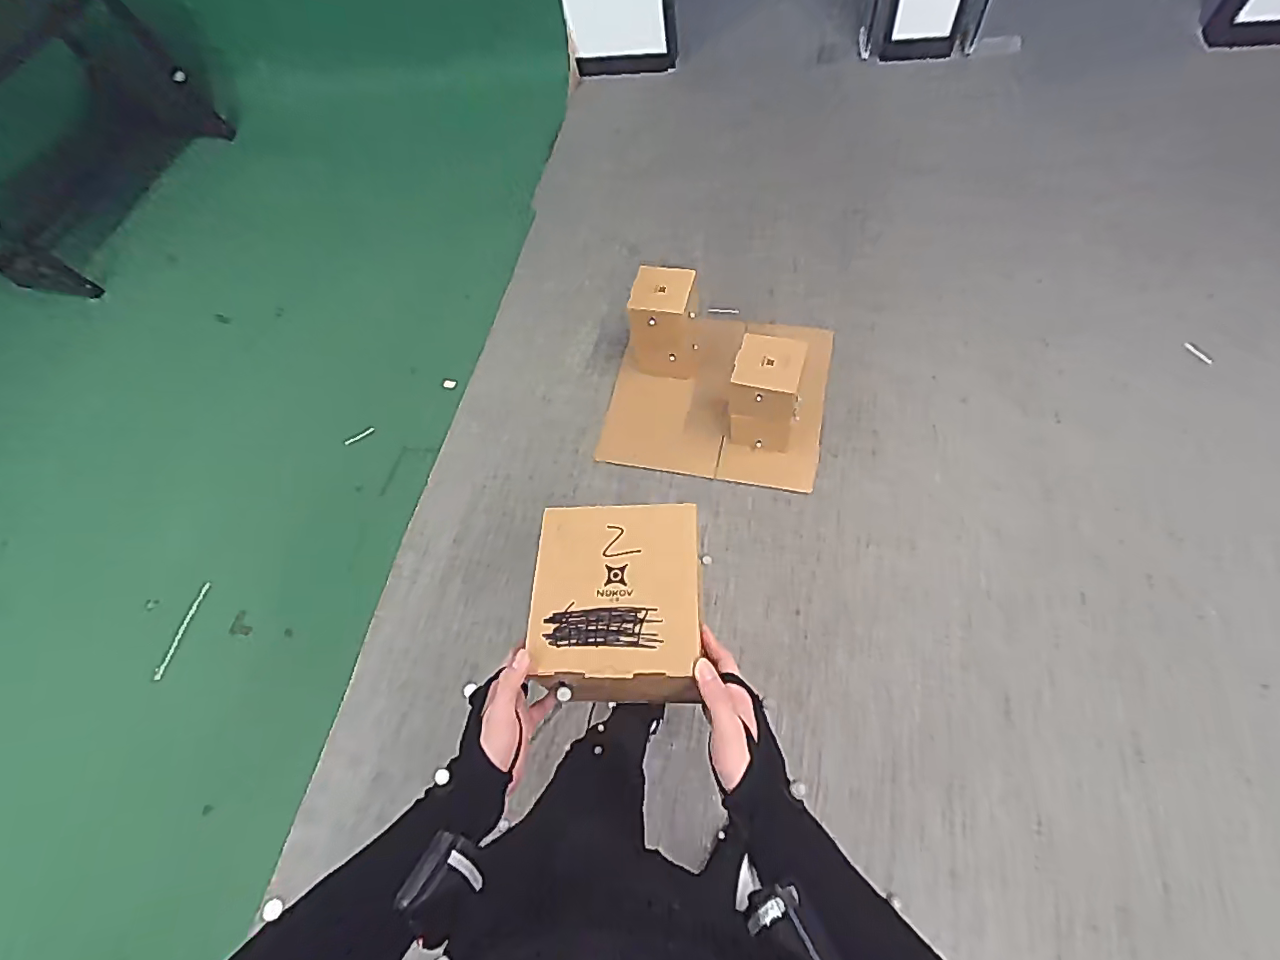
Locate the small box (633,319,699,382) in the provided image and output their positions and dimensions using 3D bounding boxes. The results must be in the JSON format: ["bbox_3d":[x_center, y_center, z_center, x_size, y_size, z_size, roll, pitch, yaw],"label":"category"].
[{"bbox_3d":[0.094,-0.447,1.801,0.179,0.176,0.168,10,67,15],"label":"small box"}]

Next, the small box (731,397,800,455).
[{"bbox_3d":[0.378,-0.193,1.638,0.179,0.176,0.168,12,68,15],"label":"small box"}]

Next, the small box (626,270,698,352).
[{"bbox_3d":[0.075,-0.512,1.654,0.179,0.176,0.168,10,68,15],"label":"small box"}]

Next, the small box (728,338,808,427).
[{"bbox_3d":[0.352,-0.264,1.493,0.179,0.176,0.168,14,69,16],"label":"small box"}]
